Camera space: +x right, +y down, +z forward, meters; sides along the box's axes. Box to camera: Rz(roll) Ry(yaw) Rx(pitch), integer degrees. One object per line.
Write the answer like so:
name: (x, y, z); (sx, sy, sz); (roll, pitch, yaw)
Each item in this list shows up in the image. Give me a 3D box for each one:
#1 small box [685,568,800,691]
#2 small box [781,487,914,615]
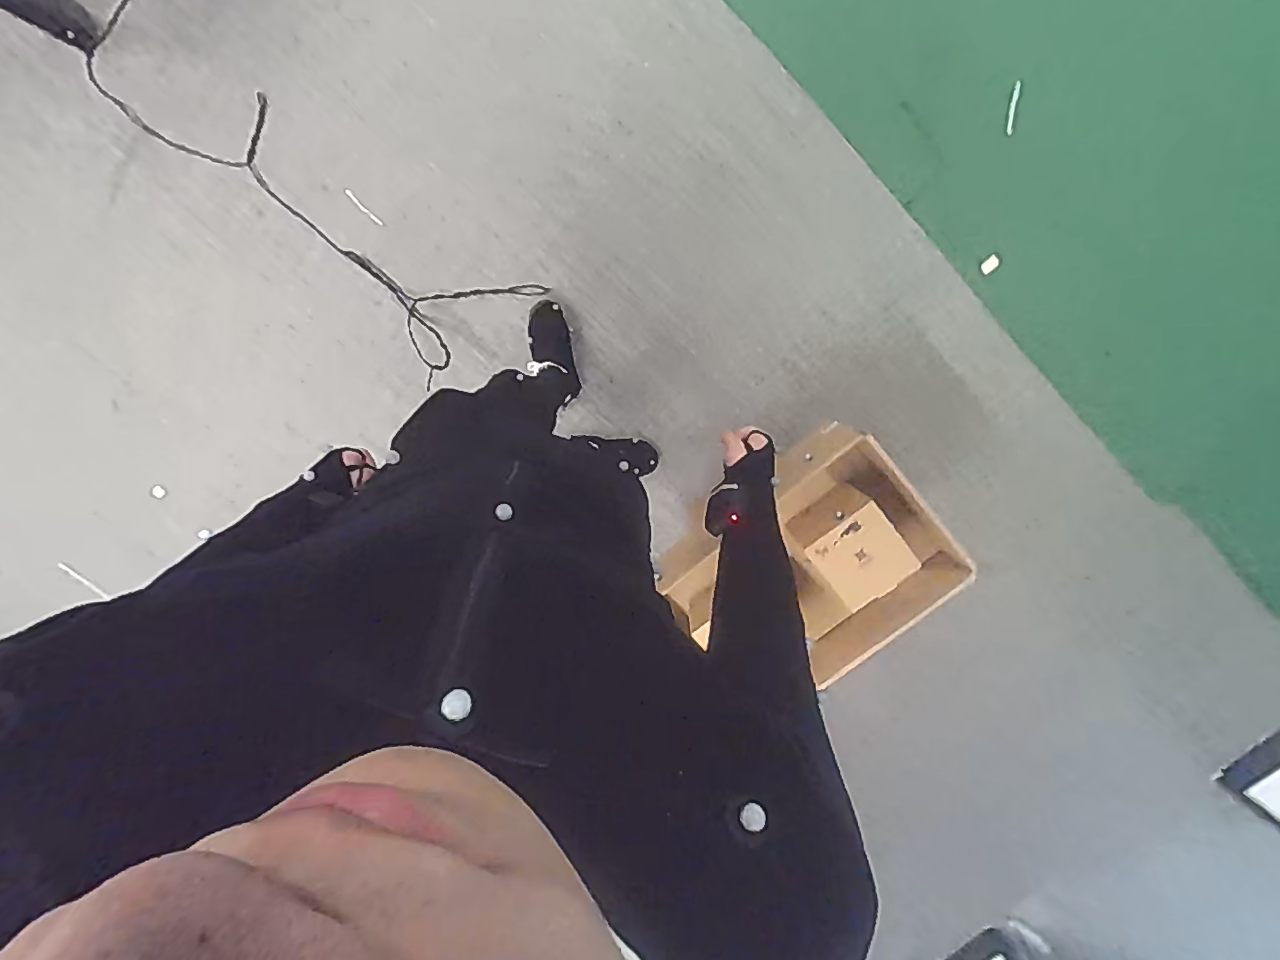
small box: (0.214, 0.314, 1.187); (0.168, 0.176, 0.179); (-40, 100, 9)
small box: (0.427, 0.141, 1.139); (0.168, 0.176, 0.179); (-38, 100, 8)
